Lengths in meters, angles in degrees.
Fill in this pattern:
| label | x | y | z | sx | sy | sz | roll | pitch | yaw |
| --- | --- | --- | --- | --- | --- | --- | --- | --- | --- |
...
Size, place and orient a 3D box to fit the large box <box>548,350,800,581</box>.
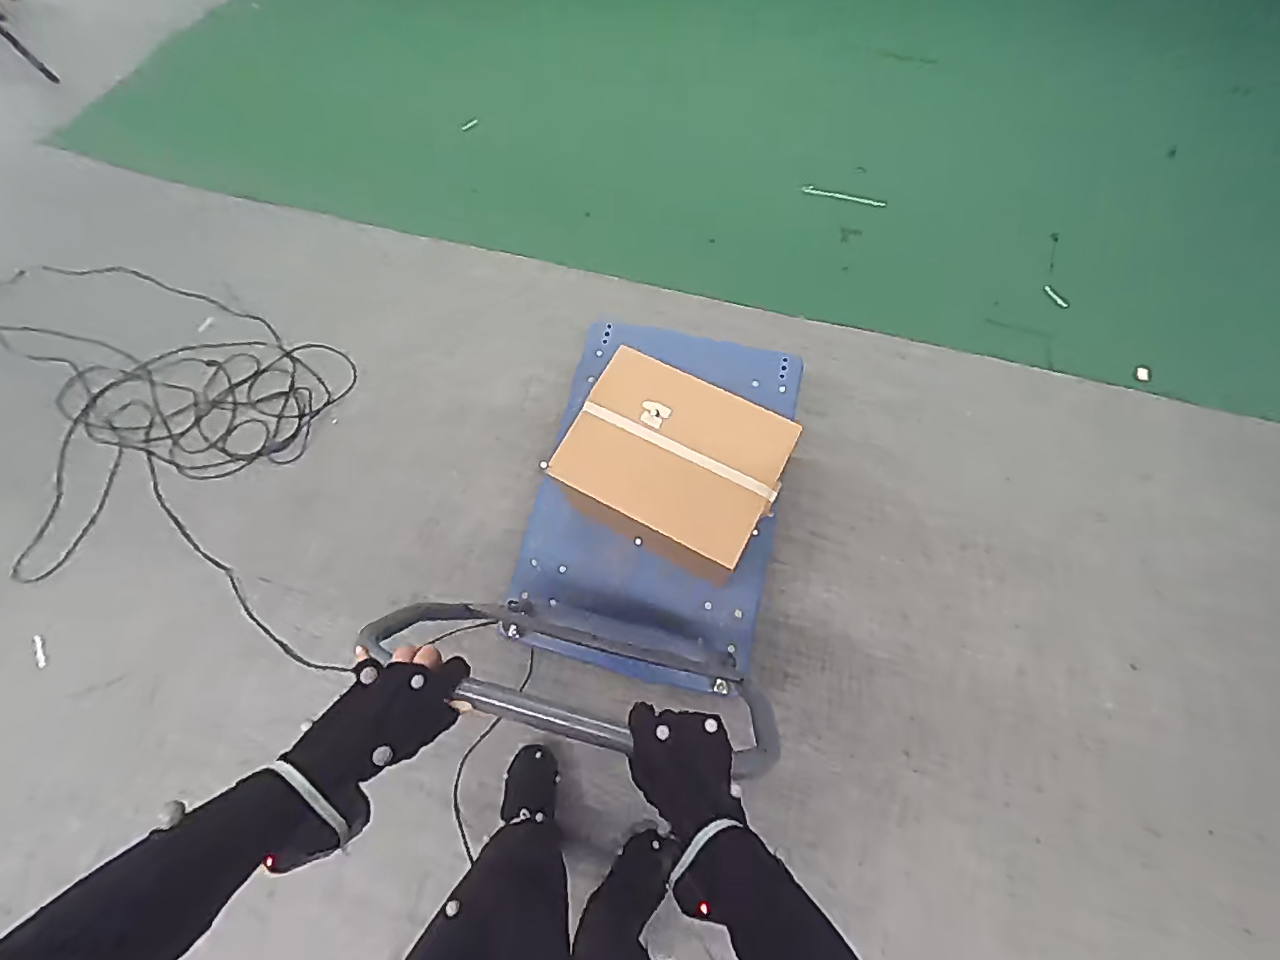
| label | x | y | z | sx | sy | sz | roll | pitch | yaw |
| --- | --- | --- | --- | --- | --- | --- | --- | --- | --- |
| large box | 0.078 | -0.014 | 1.180 | 0.408 | 0.320 | 0.320 | 27 | 77 | 12 |
